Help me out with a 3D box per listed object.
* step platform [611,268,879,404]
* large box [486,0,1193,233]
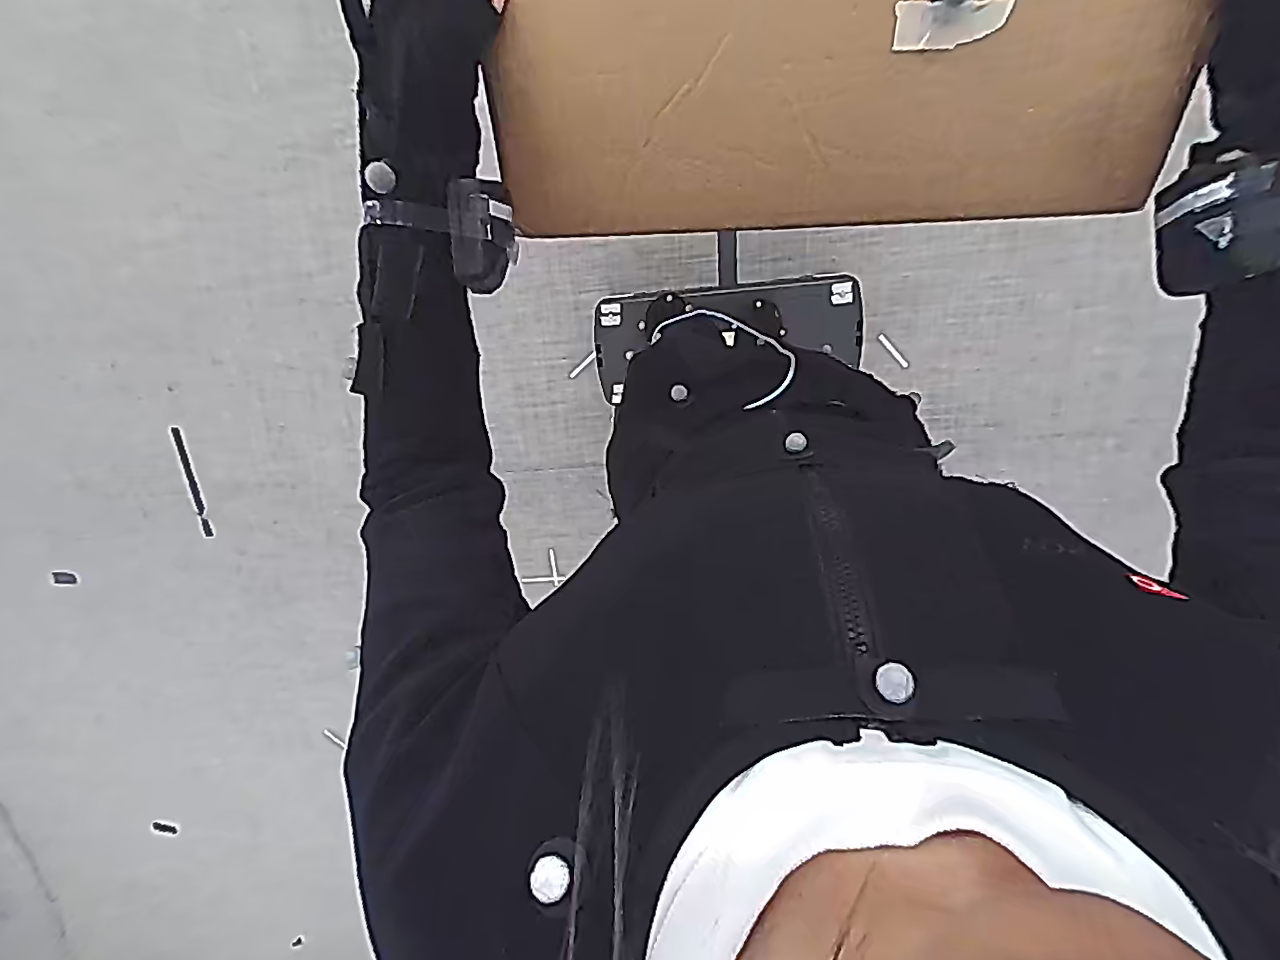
[{"bbox_3d":[0.264,-0.378,1.441,0.684,0.204,0.286,-4,108,7],"label":"step platform"},{"bbox_3d":[0.116,-0.391,0.413,0.408,0.320,0.320,1,124,8],"label":"large box"}]
